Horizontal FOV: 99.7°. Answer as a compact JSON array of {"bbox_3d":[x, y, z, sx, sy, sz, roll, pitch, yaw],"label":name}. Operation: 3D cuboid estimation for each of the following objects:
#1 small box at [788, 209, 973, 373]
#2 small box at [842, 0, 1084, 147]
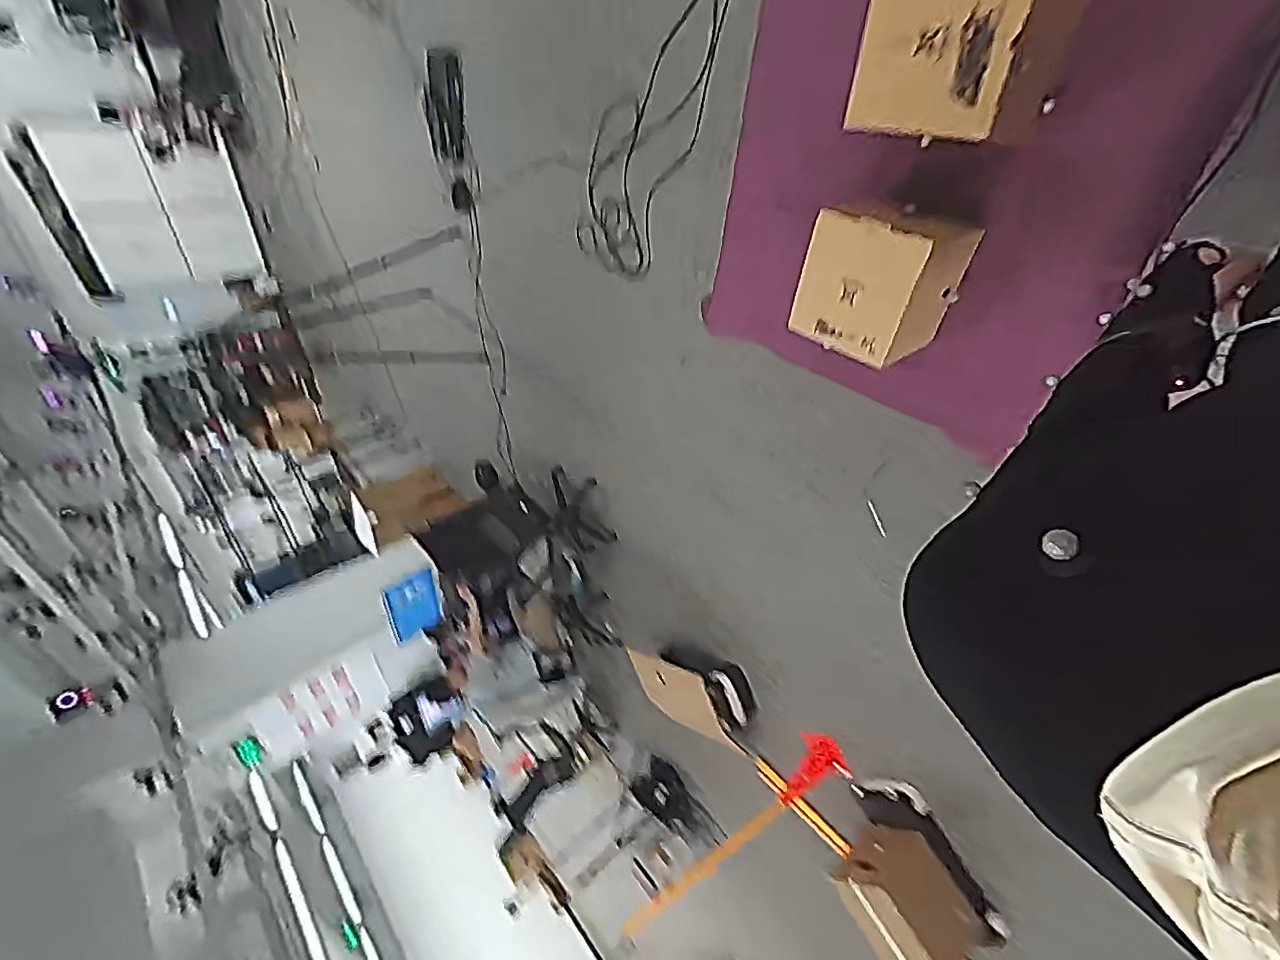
[{"bbox_3d":[0.354,-0.287,0.797,0.168,0.176,0.179,37,137,32],"label":"small box"},{"bbox_3d":[0.375,-0.495,0.631,0.179,0.176,0.168,34,136,36],"label":"small box"}]
